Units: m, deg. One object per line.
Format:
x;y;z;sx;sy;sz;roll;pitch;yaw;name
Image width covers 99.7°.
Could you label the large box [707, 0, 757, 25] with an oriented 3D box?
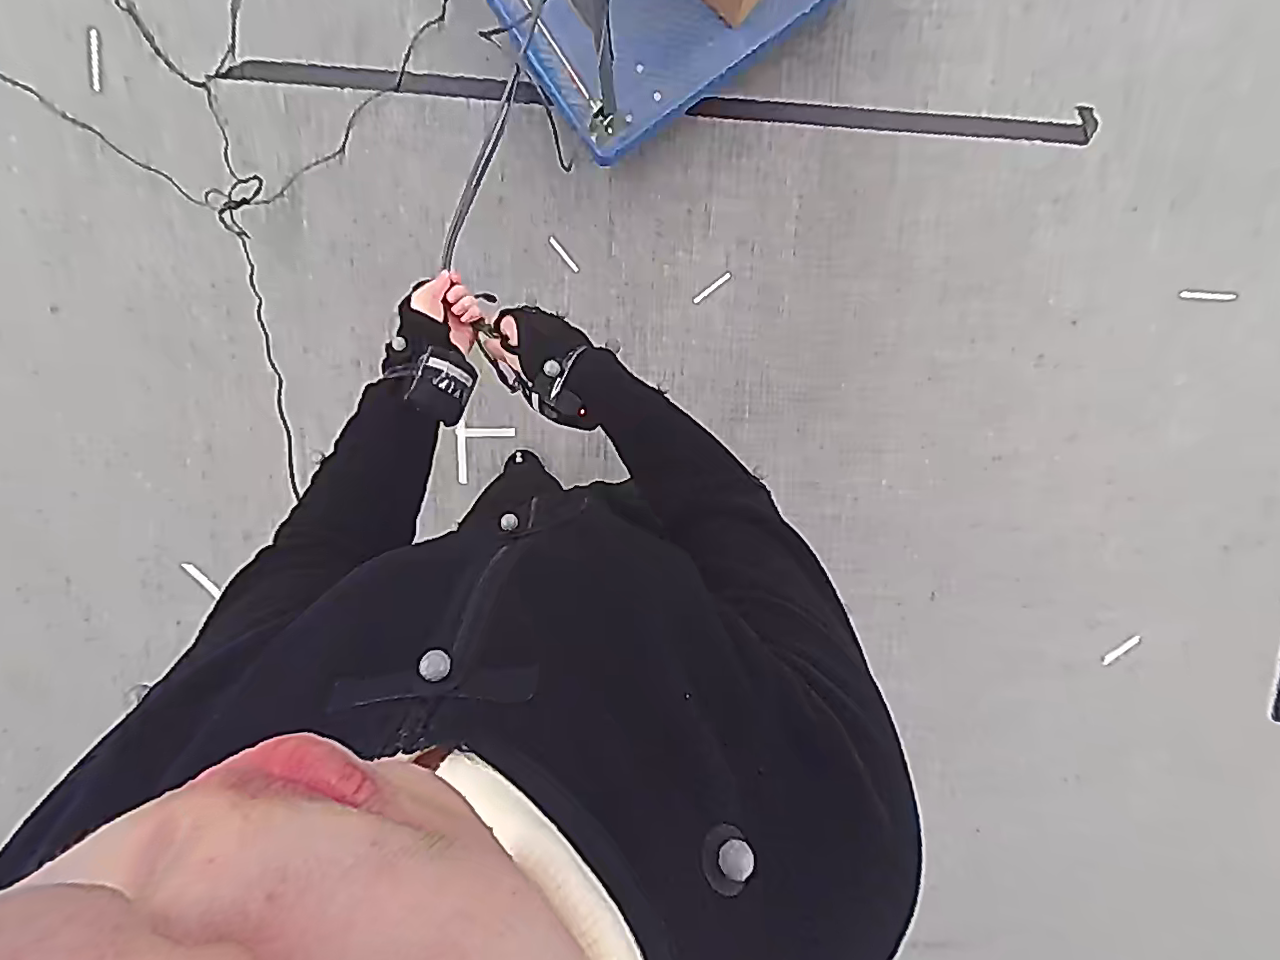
0.160;-1.220;1.016;0.408;0.320;0.320;40;95;-7;large box
